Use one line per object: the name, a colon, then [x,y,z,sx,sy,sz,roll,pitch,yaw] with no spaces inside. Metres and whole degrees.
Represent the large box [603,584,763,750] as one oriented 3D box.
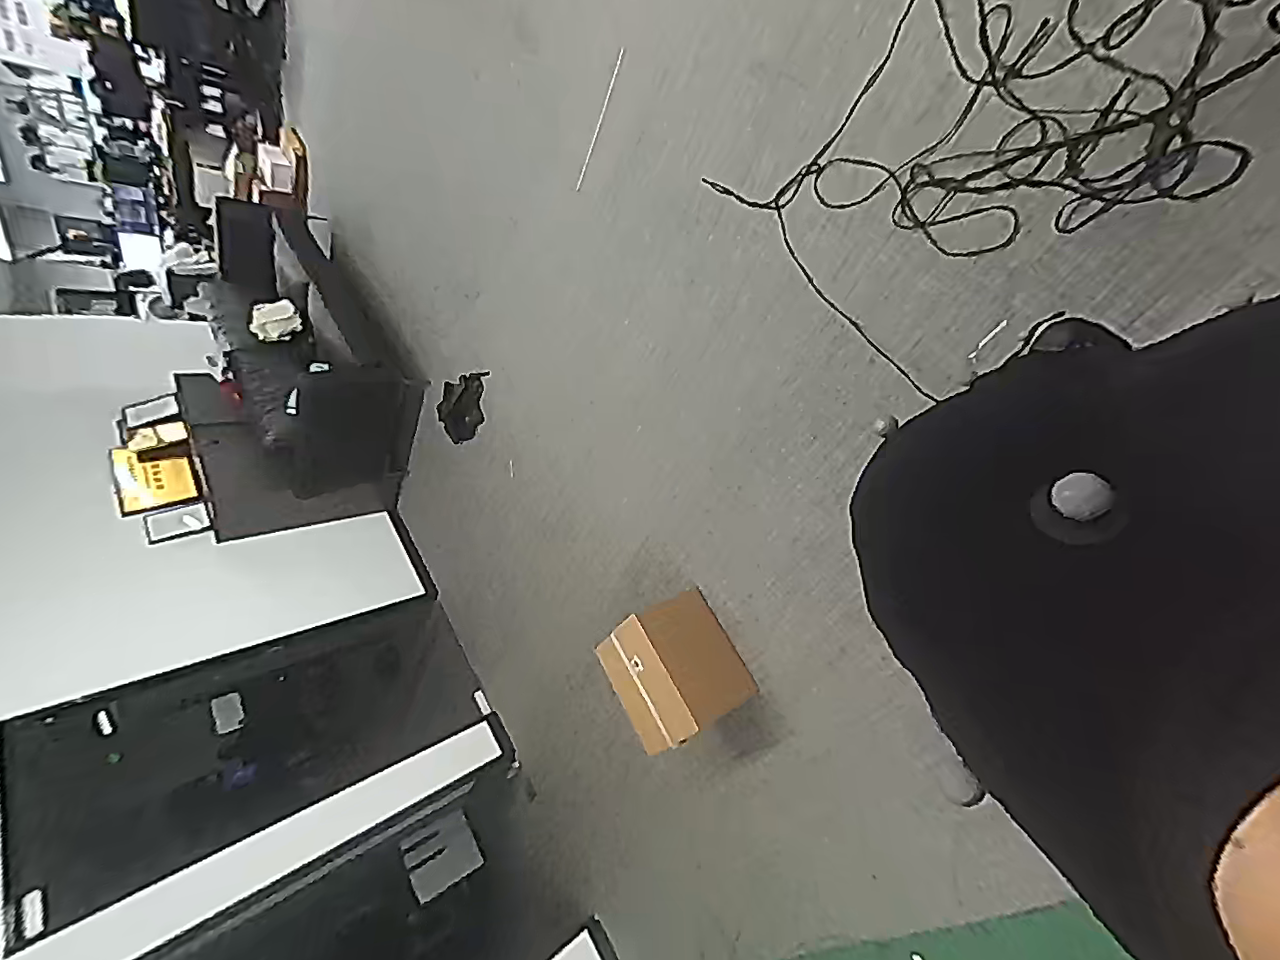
large box: [0.141,0.636,1.873,0.408,0.320,0.320,59,135,22]
